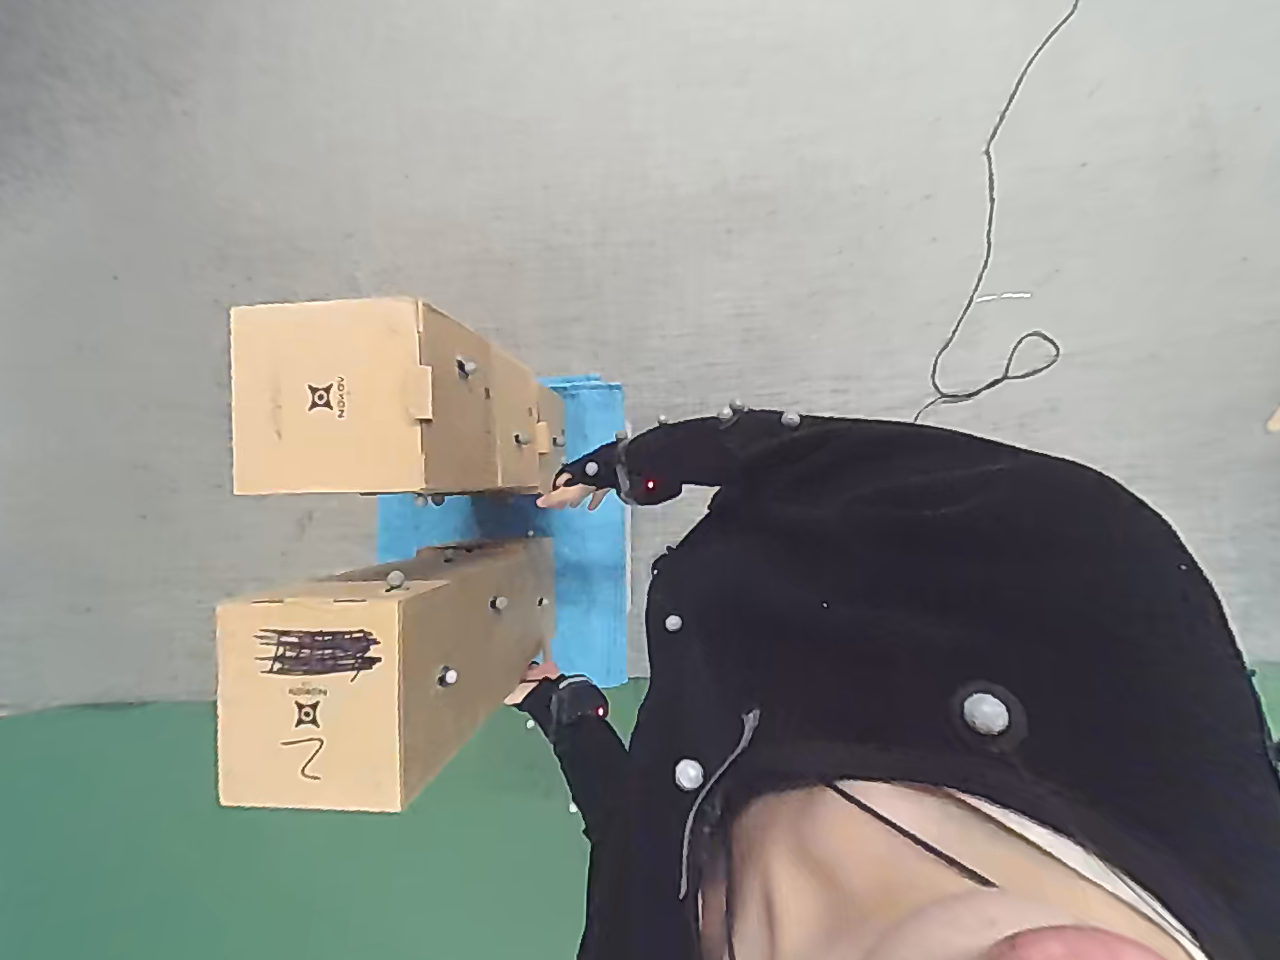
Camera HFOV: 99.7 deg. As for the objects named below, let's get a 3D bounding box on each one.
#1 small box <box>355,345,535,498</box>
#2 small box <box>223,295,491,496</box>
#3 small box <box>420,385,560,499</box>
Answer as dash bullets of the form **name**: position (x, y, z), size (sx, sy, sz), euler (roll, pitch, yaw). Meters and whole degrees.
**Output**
- **small box**: position (-0.237, -0.065, 0.686), size (0.179, 0.176, 0.168), euler (-4, 89, 6)
- **small box**: position (-0.254, -0.069, 0.524), size (0.179, 0.176, 0.168), euler (-1, 89, 6)
- **small box**: position (-0.224, -0.056, 0.848), size (0.179, 0.176, 0.168), euler (0, 89, 4)
